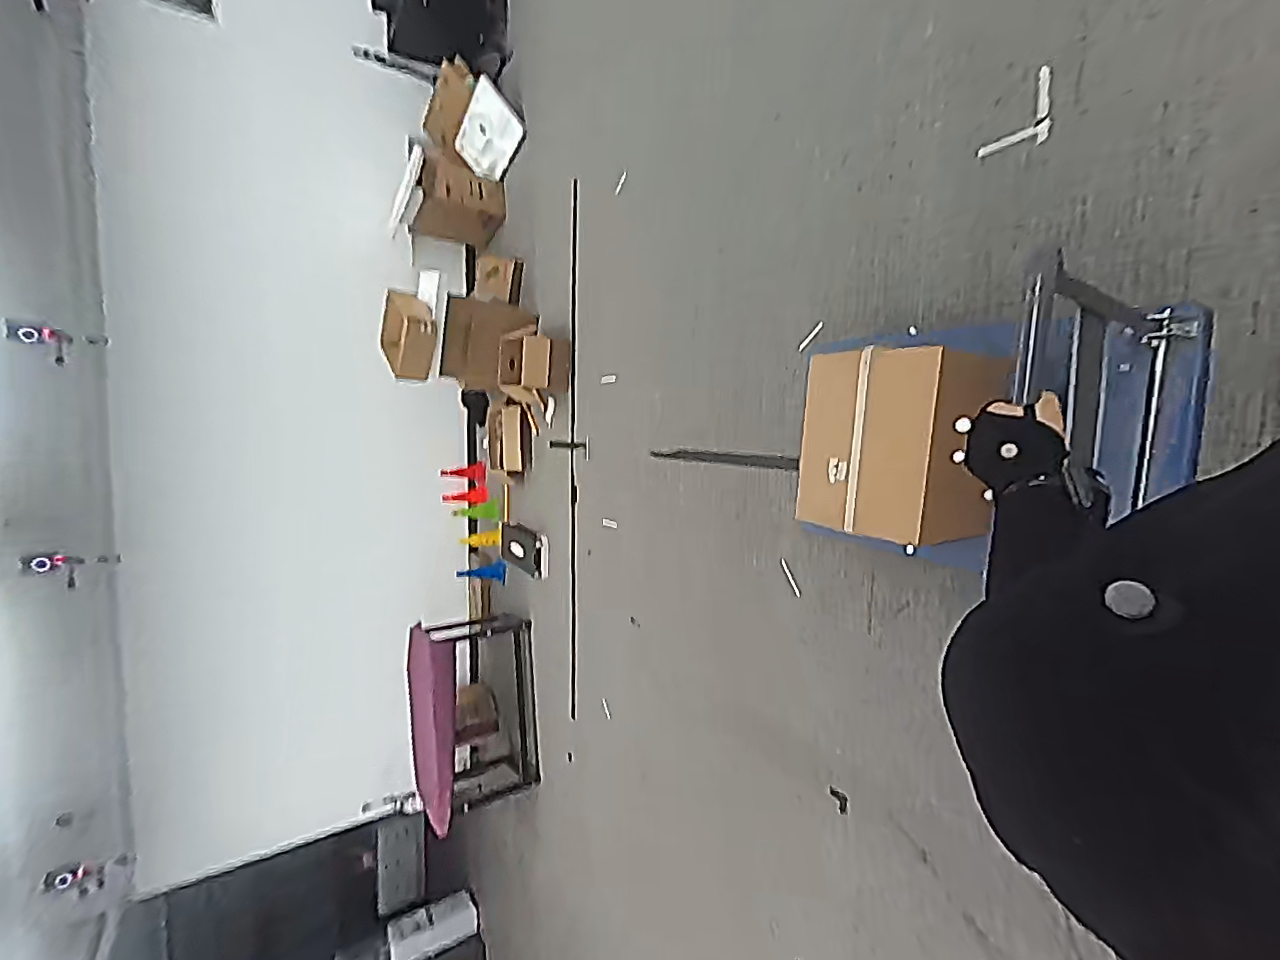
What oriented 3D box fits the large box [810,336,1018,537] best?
[{"bbox_3d":[0.632,-0.108,1.265,0.320,0.320,0.408,14,105,56],"label":"large box"}]
